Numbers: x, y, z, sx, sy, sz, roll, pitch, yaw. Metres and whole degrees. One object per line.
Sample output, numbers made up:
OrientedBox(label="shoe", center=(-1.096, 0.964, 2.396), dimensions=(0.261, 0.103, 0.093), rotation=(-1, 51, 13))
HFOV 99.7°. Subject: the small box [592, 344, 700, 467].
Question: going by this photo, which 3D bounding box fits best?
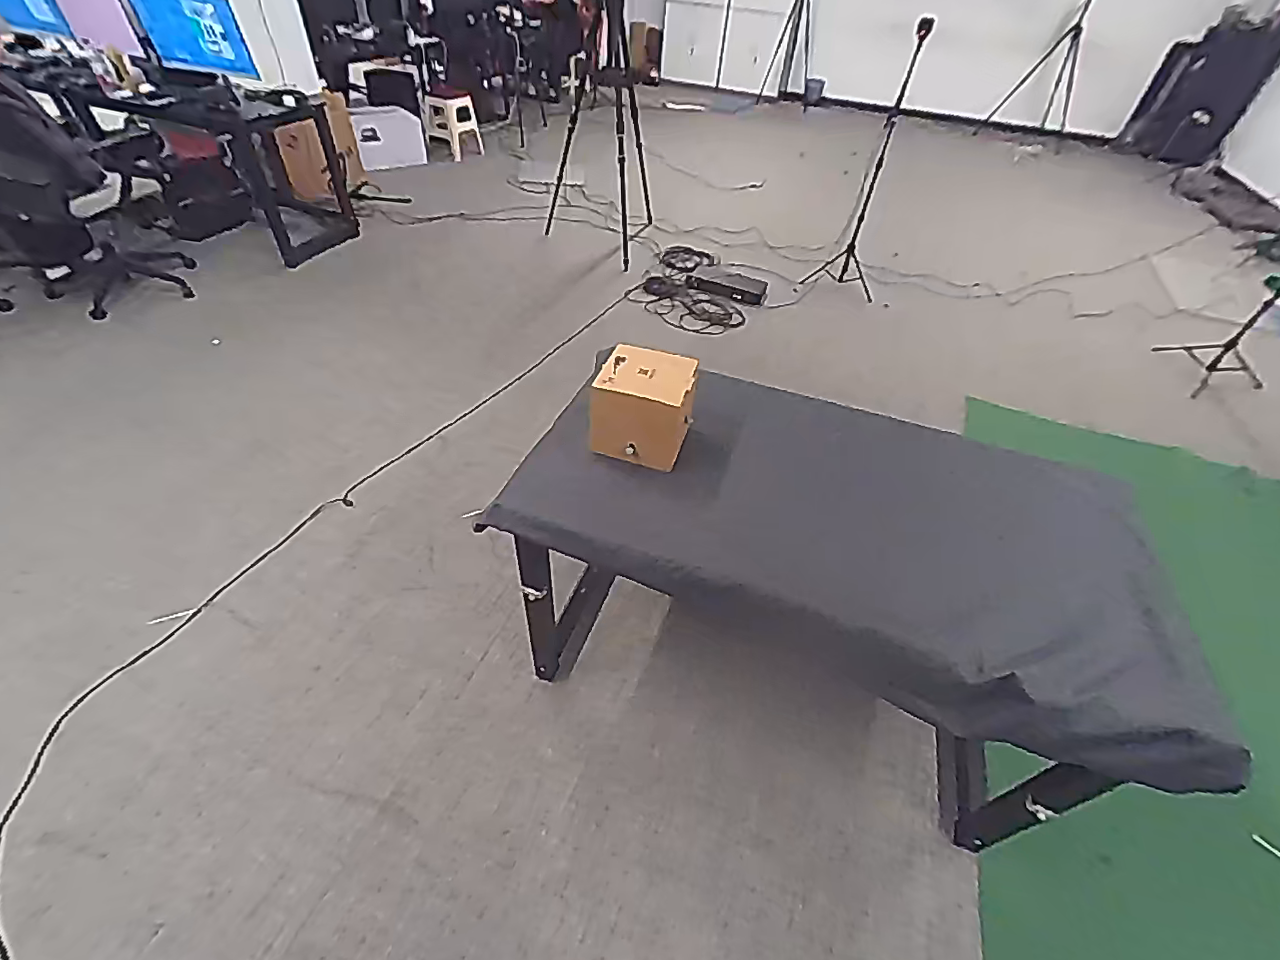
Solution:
OrientedBox(label="small box", center=(0.010, -0.149, 1.113), dimensions=(0.179, 0.176, 0.168), rotation=(16, 45, 9))
